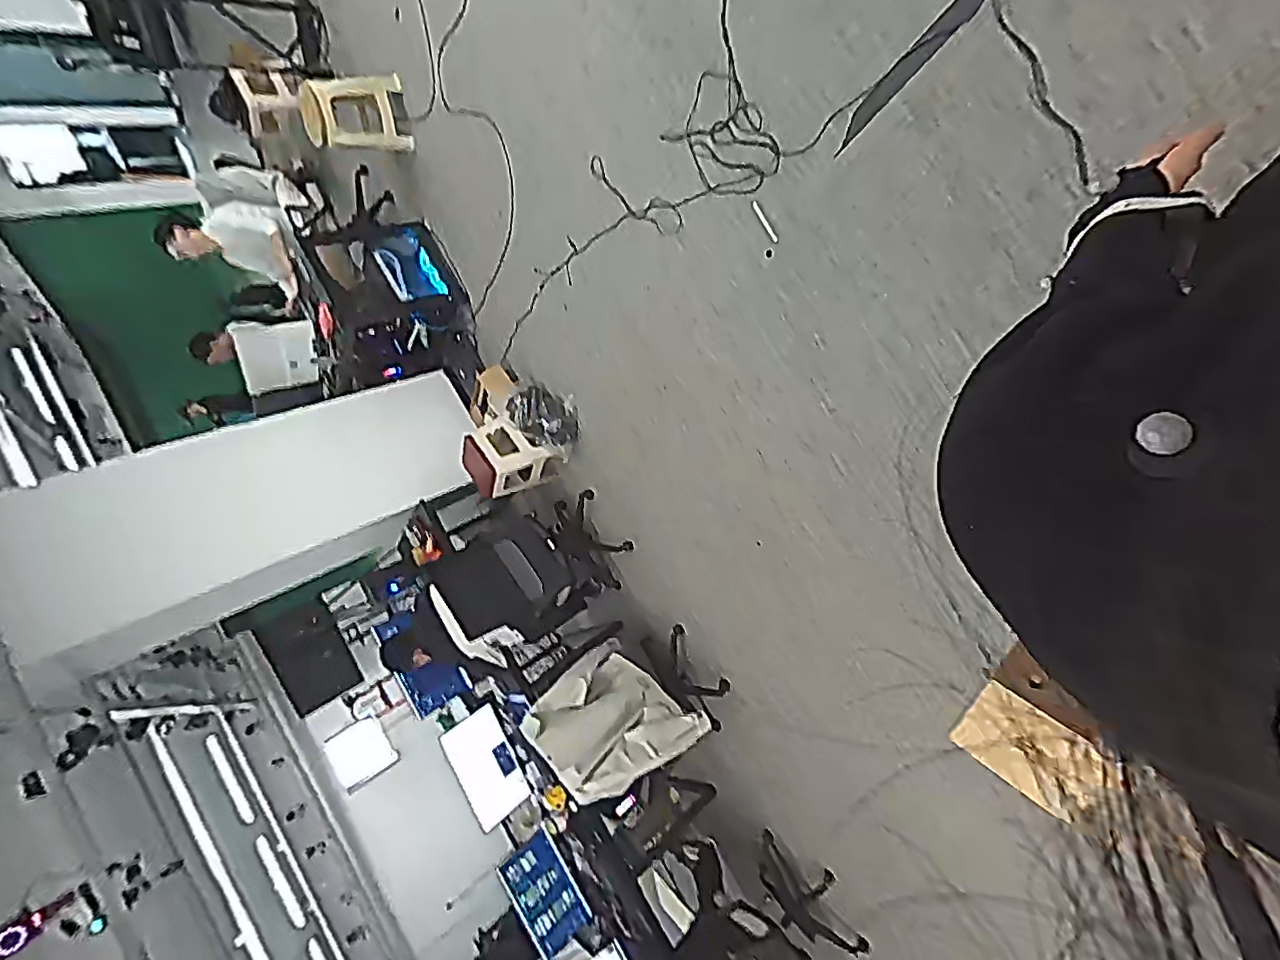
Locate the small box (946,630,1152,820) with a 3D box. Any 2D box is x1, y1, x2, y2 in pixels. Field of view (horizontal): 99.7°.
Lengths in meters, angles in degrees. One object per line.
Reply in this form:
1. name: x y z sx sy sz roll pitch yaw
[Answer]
1. small box: 0.617 0.357 0.824 0.179 0.176 0.168 35 137 36
